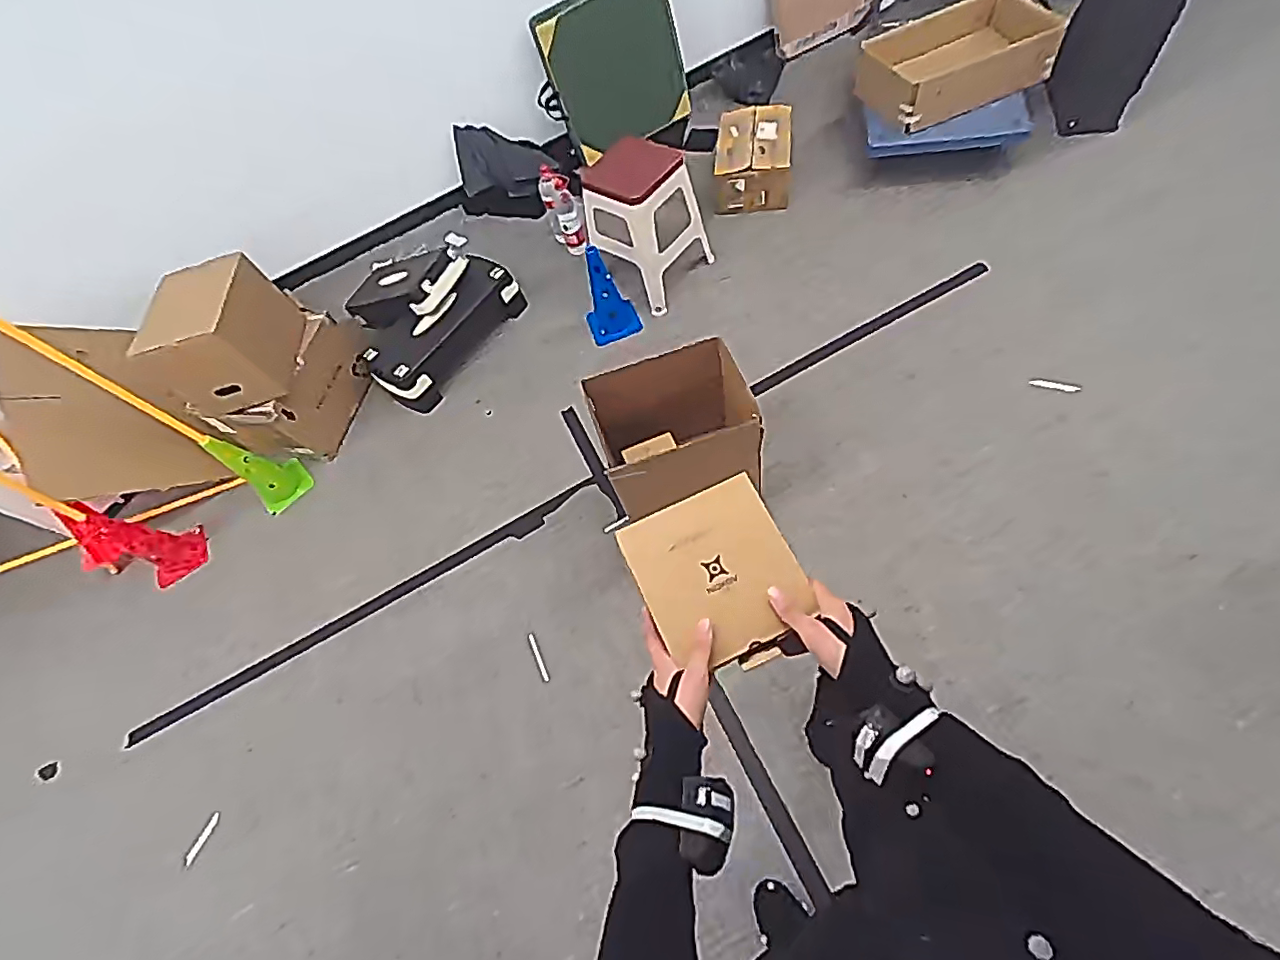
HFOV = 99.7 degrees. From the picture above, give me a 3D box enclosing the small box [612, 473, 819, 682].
[{"bbox_3d":[0.081,0.123,0.646,0.168,0.176,0.179,-24,69,-7],"label":"small box"}]
